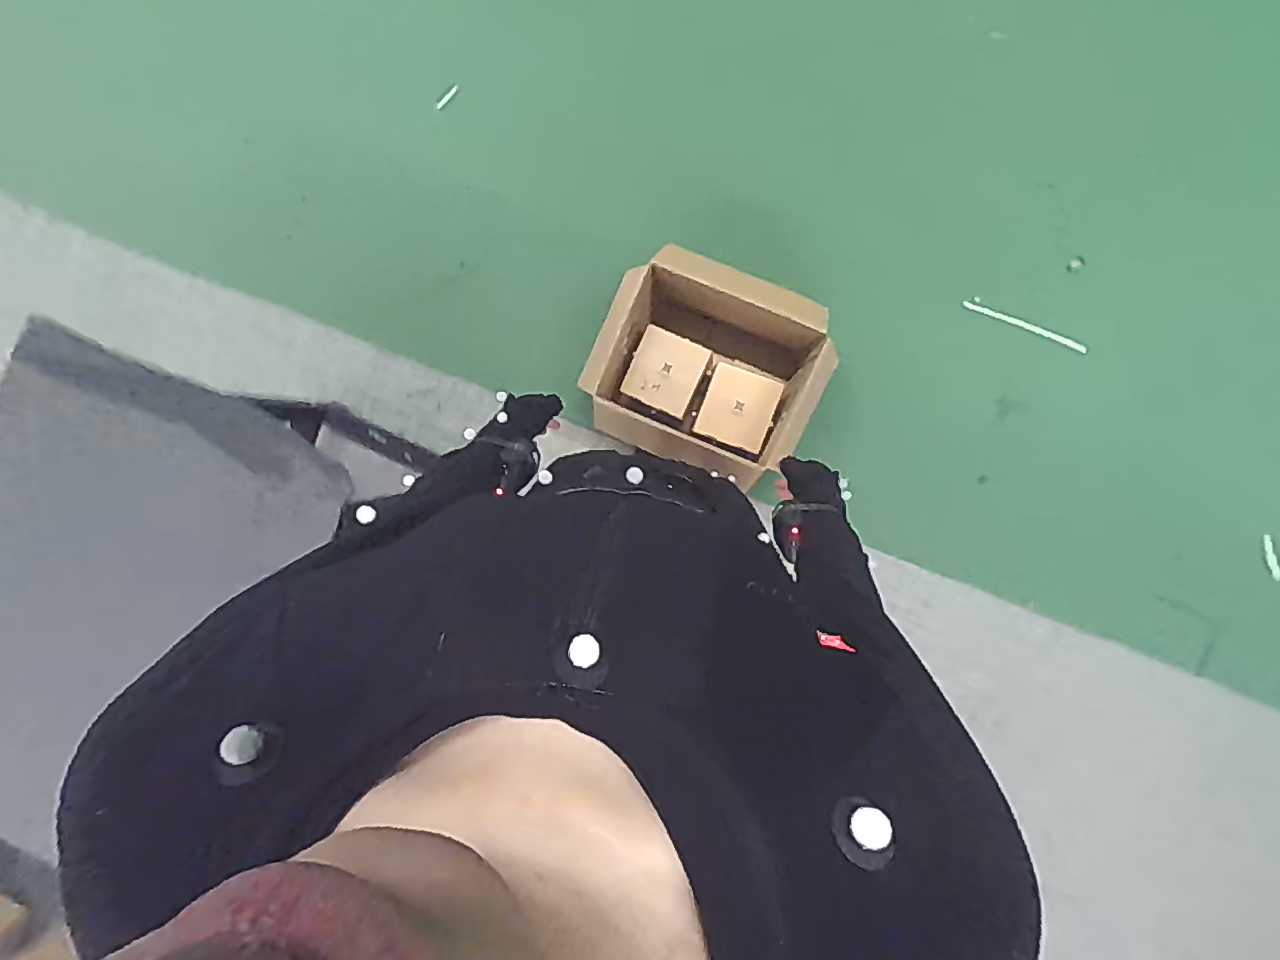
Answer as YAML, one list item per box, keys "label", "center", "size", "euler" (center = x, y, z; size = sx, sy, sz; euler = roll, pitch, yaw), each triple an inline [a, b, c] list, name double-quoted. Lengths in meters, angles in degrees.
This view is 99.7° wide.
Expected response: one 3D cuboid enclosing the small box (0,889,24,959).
- label: "small box"
  center: [-1.161, 0.769, 0.860]
  size: [0.179, 0.176, 0.168]
  euler: [23, 97, 5]
